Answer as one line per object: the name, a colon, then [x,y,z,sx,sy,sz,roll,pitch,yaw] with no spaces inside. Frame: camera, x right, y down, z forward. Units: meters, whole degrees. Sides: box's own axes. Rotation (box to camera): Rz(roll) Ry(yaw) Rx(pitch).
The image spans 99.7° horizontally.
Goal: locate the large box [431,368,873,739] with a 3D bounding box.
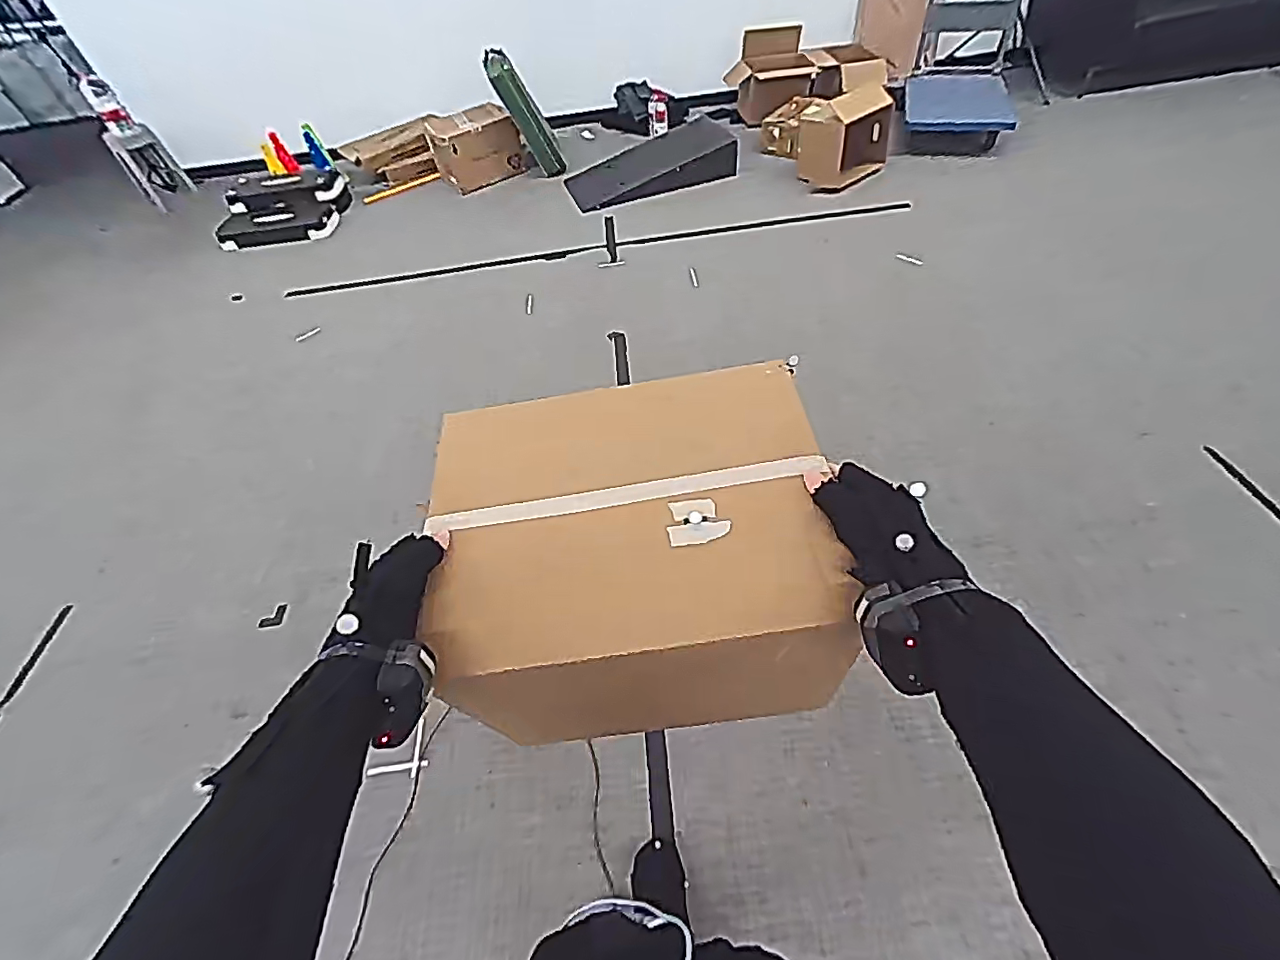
large box: [0.008,0.105,0.678,0.408,0.320,0.320,-8,54,2]
